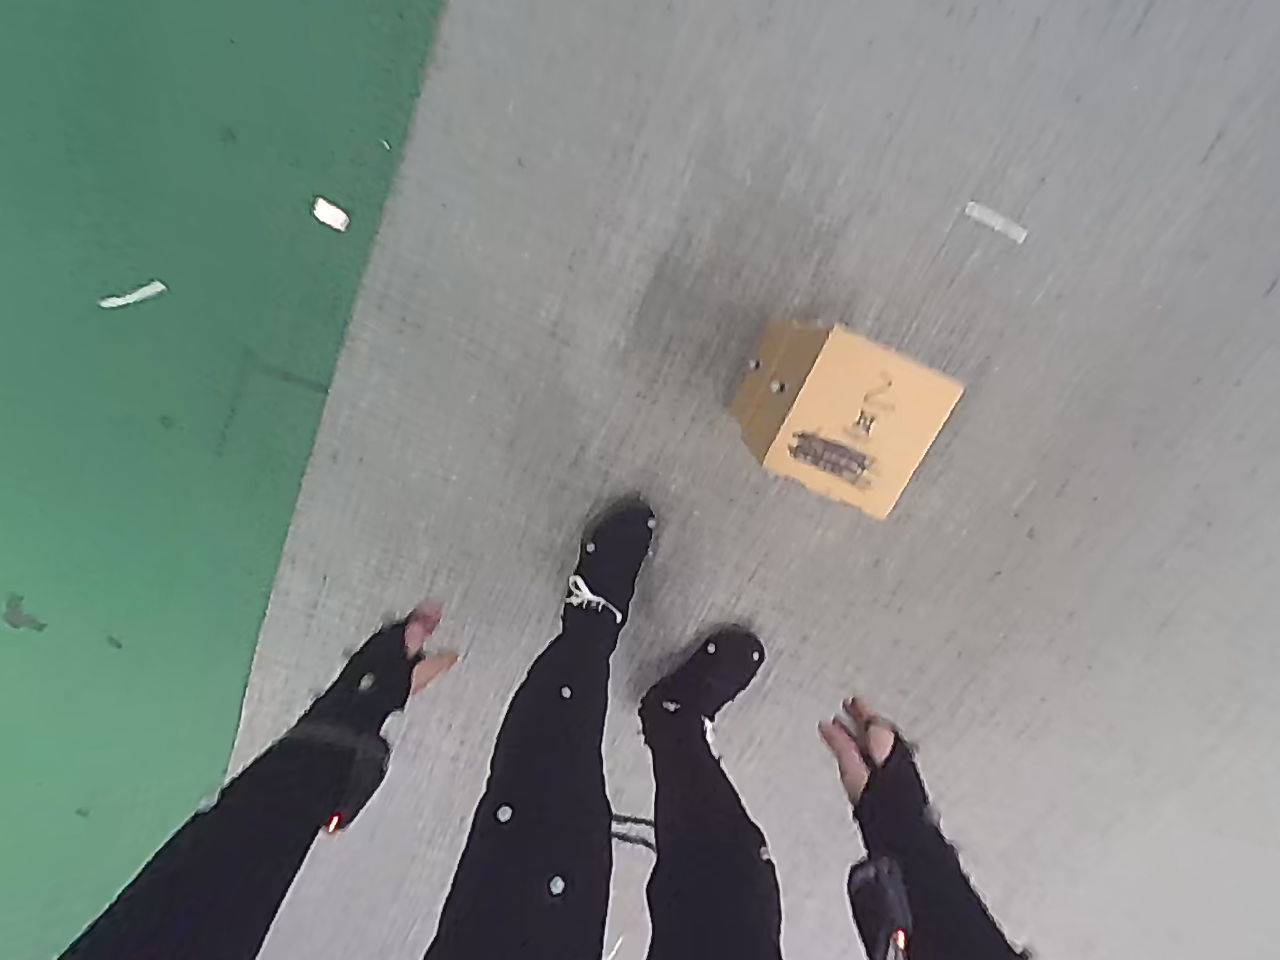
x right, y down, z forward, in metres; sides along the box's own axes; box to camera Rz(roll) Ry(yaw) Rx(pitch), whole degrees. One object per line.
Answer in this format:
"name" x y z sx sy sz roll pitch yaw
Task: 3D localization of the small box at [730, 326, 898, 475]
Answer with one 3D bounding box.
"small box" 0.260 -0.131 0.858 0.179 0.176 0.168 23 106 -6
